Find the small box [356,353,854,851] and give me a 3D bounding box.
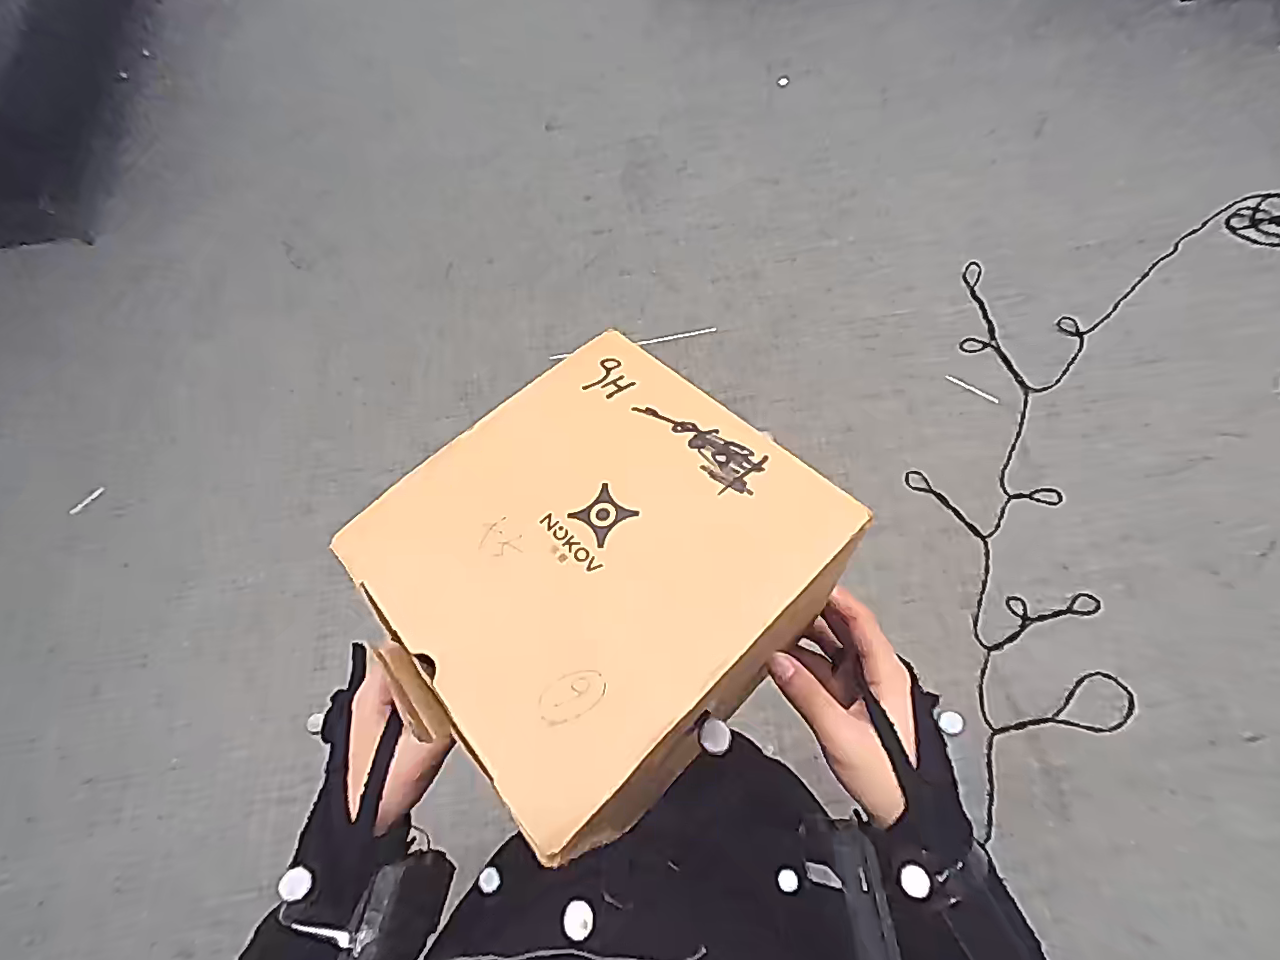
[{"bbox_3d":[-0.011,0.070,0.313,0.179,0.176,0.168,-42,63,-16],"label":"small box"}]
